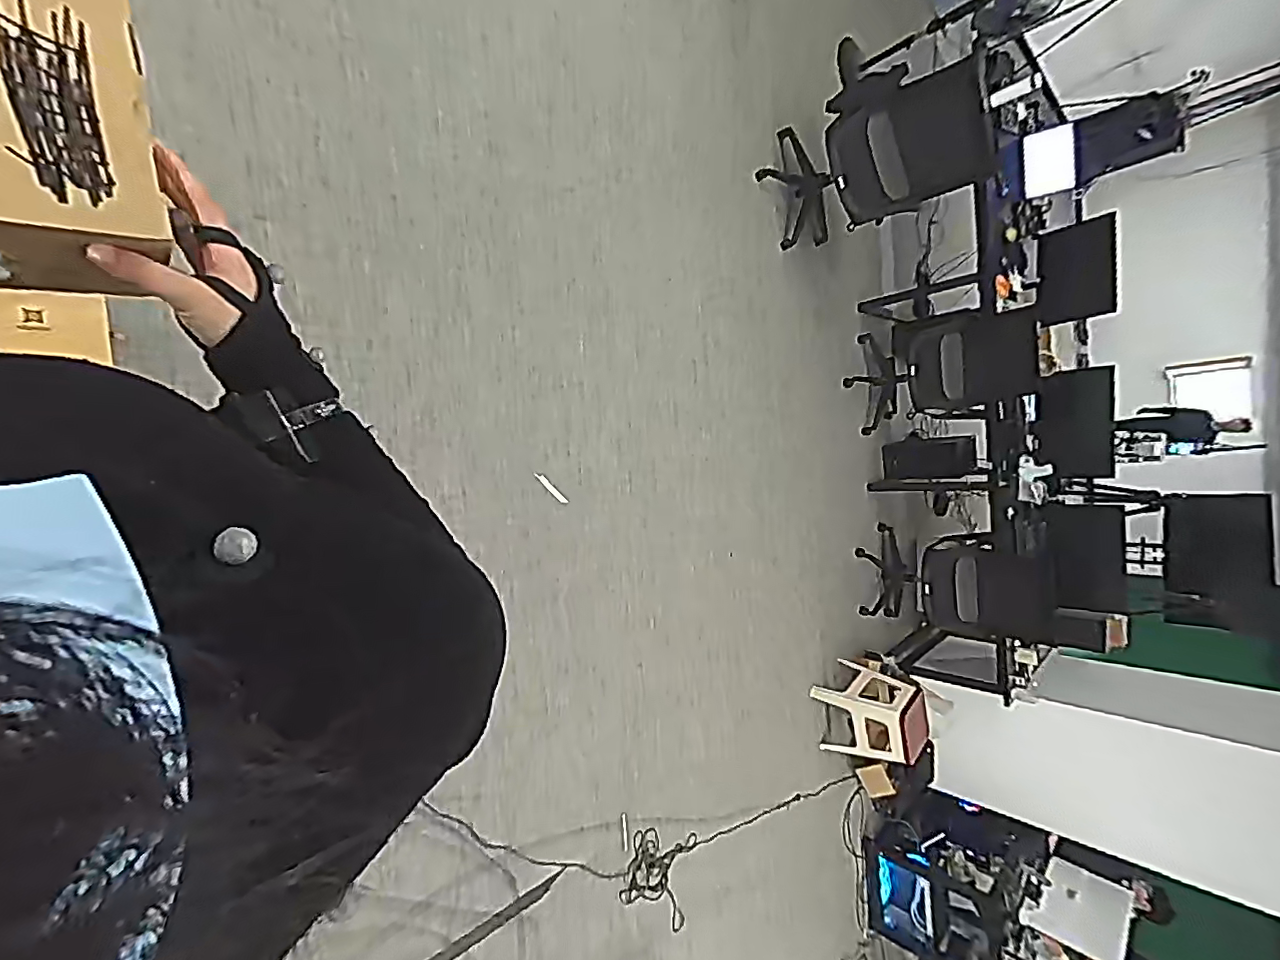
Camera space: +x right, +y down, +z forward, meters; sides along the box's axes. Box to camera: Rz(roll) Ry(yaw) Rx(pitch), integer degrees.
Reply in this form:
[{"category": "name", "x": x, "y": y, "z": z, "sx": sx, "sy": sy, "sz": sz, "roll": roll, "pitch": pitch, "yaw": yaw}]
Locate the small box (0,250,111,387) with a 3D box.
[{"category": "small box", "x": -0.973, "y": -0.252, "z": 0.867, "sx": 0.168, "sy": 0.176, "sz": 0.179, "roll": -6, "pitch": 94, "yaw": -43}]
